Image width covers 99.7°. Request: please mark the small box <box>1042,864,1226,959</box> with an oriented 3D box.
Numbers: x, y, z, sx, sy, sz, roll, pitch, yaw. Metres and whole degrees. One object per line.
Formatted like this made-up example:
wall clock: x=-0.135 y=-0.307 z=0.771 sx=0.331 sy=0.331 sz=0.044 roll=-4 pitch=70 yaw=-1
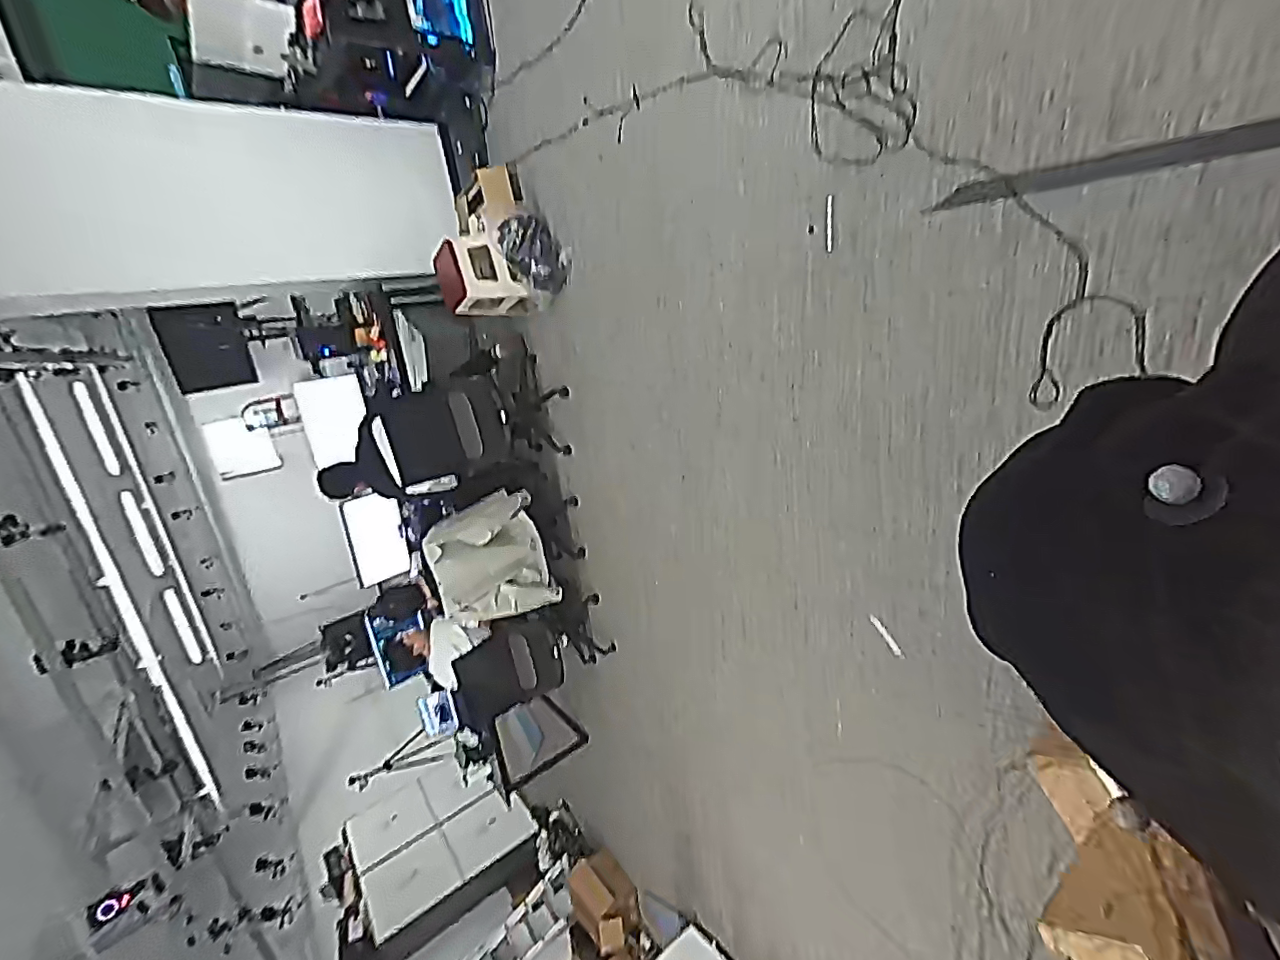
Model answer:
small box: x=0.861 y=0.806 z=0.939 sx=0.168 sy=0.176 sz=0.179 roll=61 pitch=145 yaw=15
